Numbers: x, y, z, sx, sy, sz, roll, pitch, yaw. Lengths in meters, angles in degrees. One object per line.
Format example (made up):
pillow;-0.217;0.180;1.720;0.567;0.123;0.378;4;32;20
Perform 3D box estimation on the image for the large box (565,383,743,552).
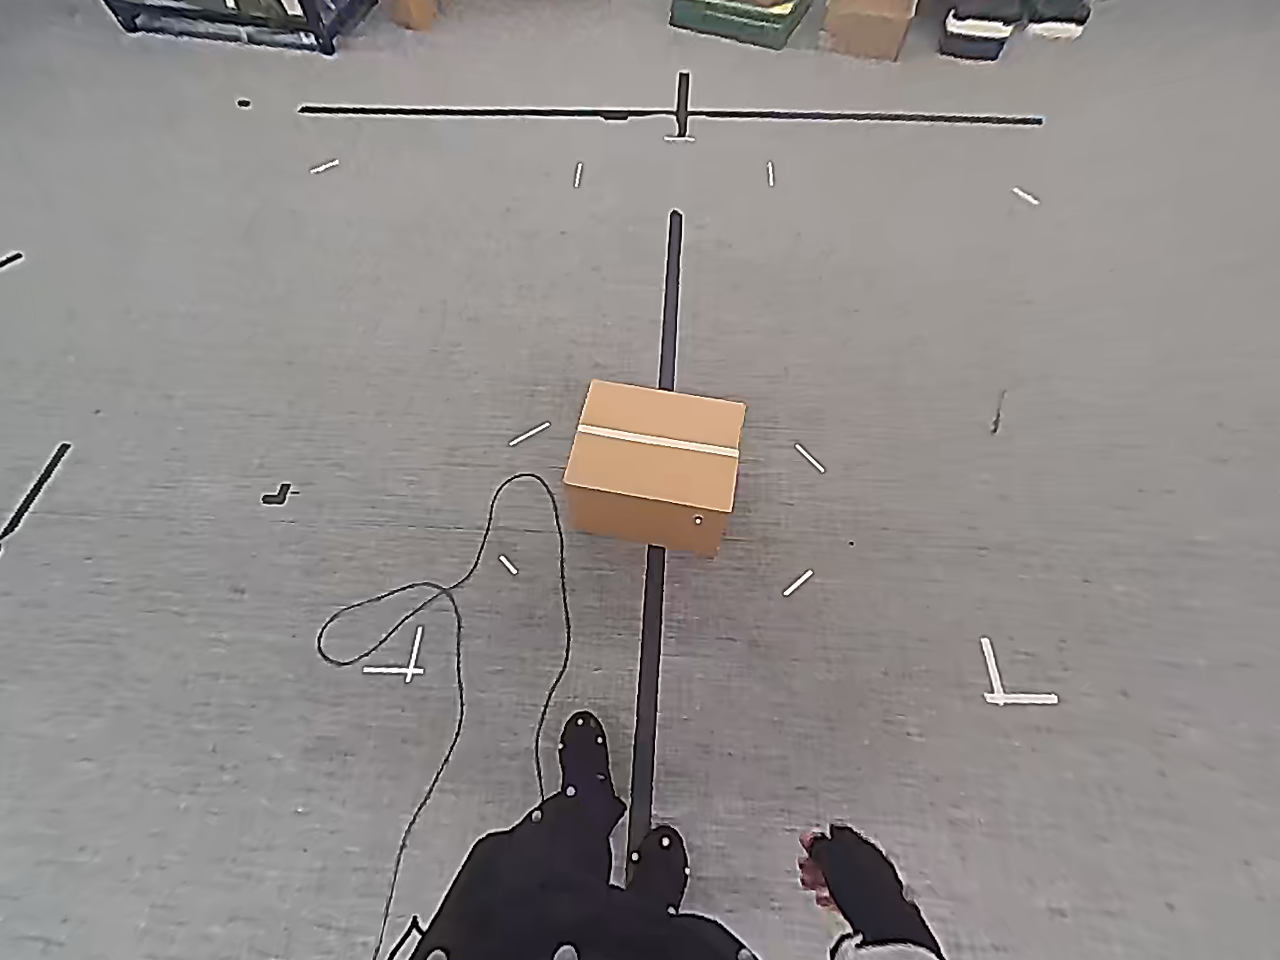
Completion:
large box;0.043;-0.023;1.456;0.408;0.320;0.320;10;63;4
